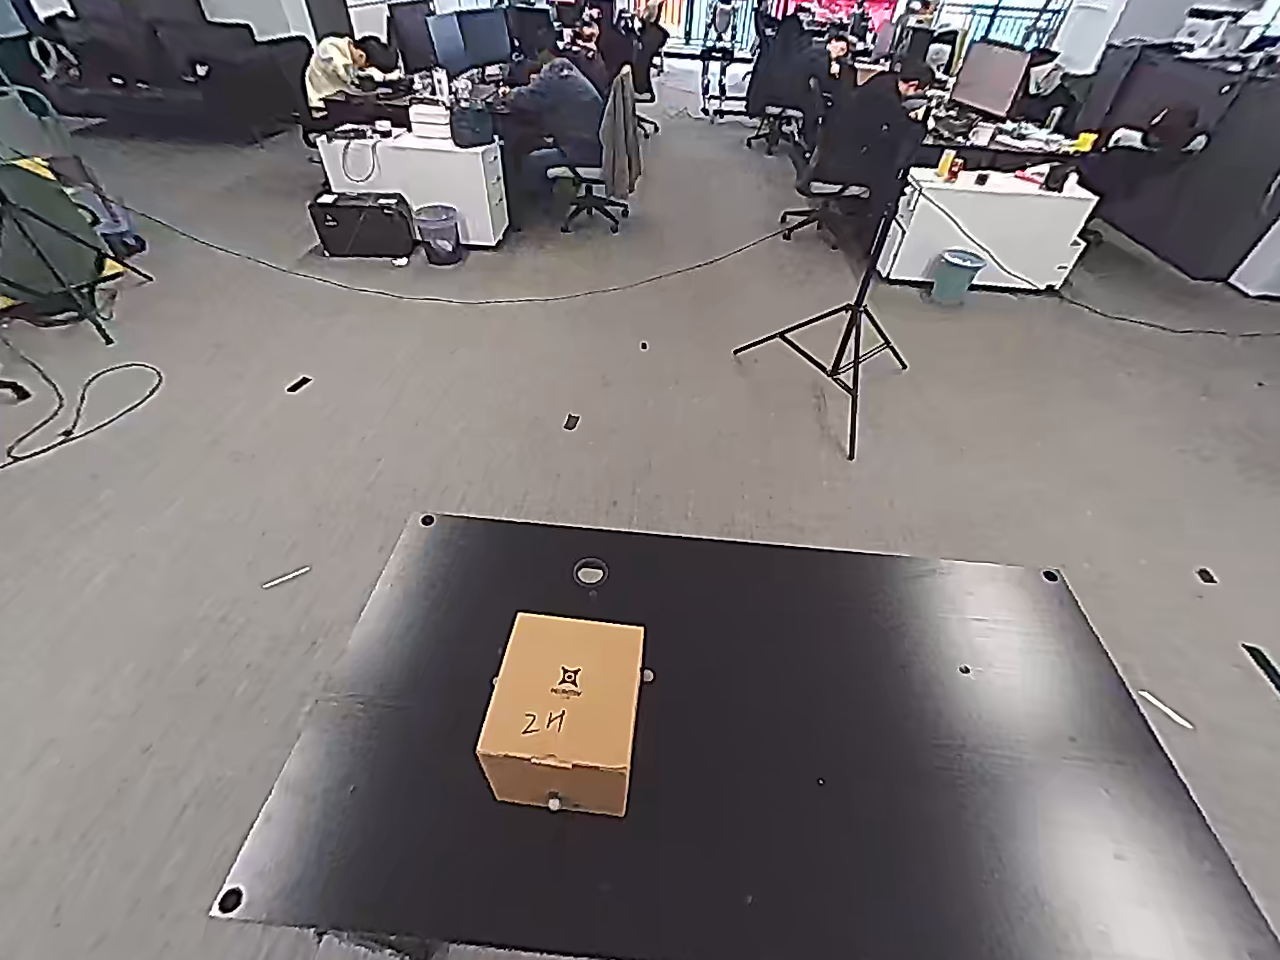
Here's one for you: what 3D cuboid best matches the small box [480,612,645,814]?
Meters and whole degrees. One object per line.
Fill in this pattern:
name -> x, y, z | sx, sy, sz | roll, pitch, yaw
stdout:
small box -> -0.088, 0.297, 0.692 | 0.168, 0.176, 0.179 | 5, 44, 3
